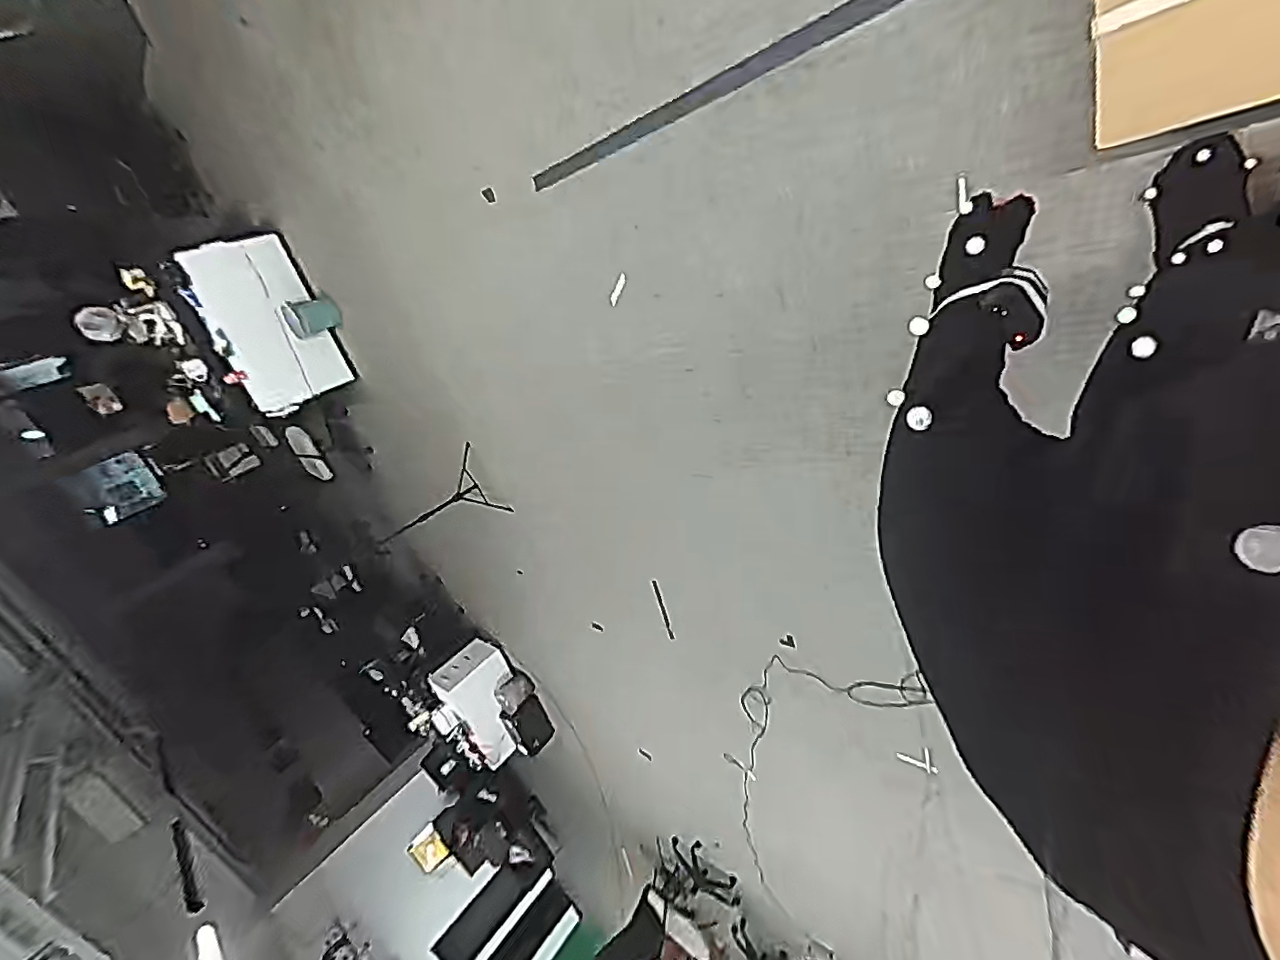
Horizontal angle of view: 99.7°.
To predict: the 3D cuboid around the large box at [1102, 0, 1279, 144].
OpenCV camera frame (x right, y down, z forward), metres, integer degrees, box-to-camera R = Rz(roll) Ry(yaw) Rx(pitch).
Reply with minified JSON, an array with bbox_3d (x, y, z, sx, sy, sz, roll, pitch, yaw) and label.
[{"bbox_3d":[0.858,-0.683,0.685,0.408,0.320,0.320,3,122,44],"label":"large box"}]
